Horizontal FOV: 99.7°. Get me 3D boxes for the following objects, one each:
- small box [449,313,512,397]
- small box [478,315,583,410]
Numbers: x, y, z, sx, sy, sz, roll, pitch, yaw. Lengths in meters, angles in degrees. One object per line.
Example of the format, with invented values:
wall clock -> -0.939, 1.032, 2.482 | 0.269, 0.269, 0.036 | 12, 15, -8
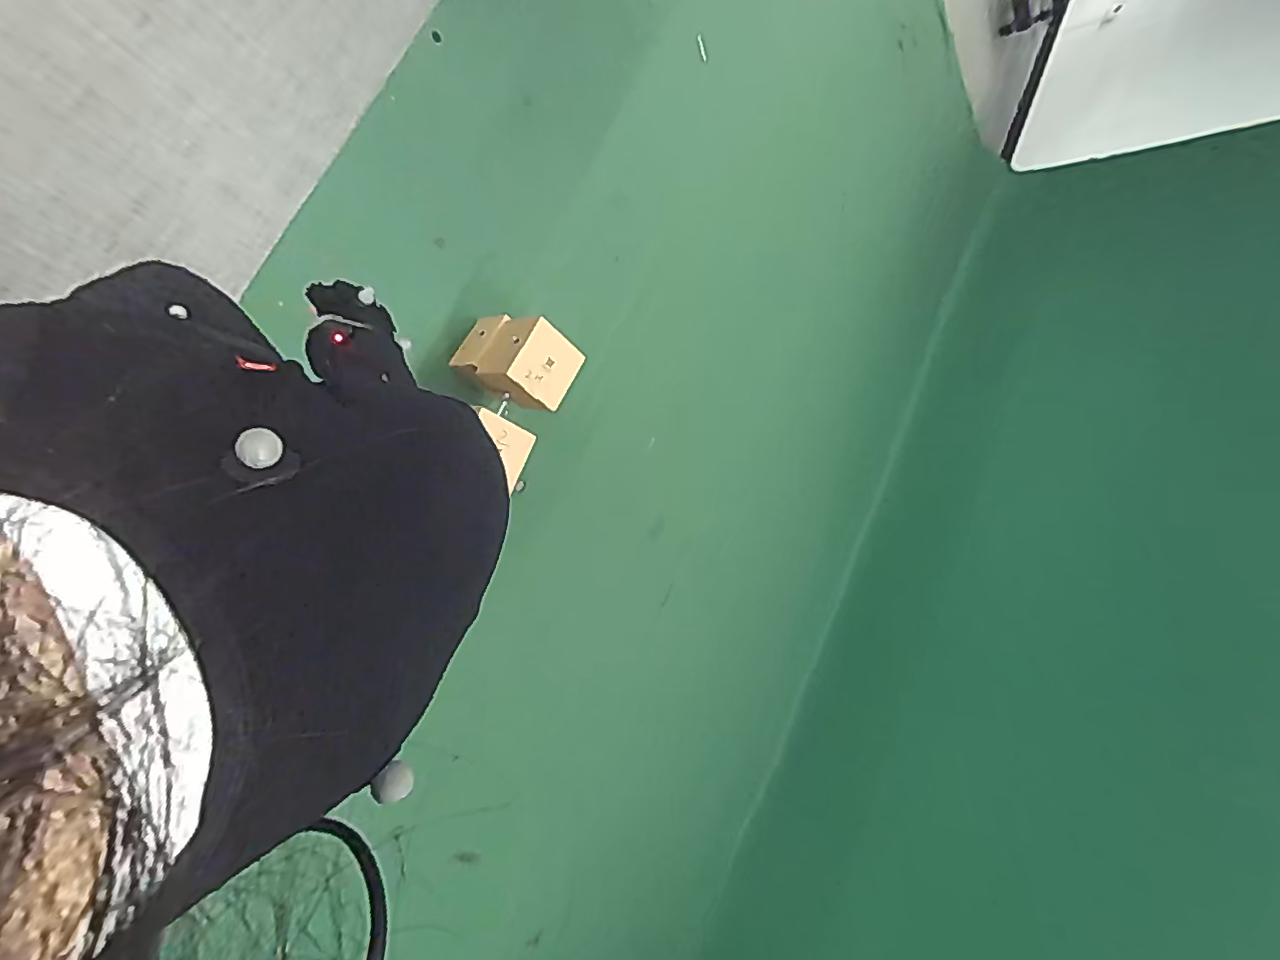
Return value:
small box -> -0.397, -0.339, 1.508 | 0.179, 0.176, 0.168 | 40, 72, -40
small box -> -0.285, -0.301, 1.391 | 0.168, 0.176, 0.179 | 39, 72, -40
